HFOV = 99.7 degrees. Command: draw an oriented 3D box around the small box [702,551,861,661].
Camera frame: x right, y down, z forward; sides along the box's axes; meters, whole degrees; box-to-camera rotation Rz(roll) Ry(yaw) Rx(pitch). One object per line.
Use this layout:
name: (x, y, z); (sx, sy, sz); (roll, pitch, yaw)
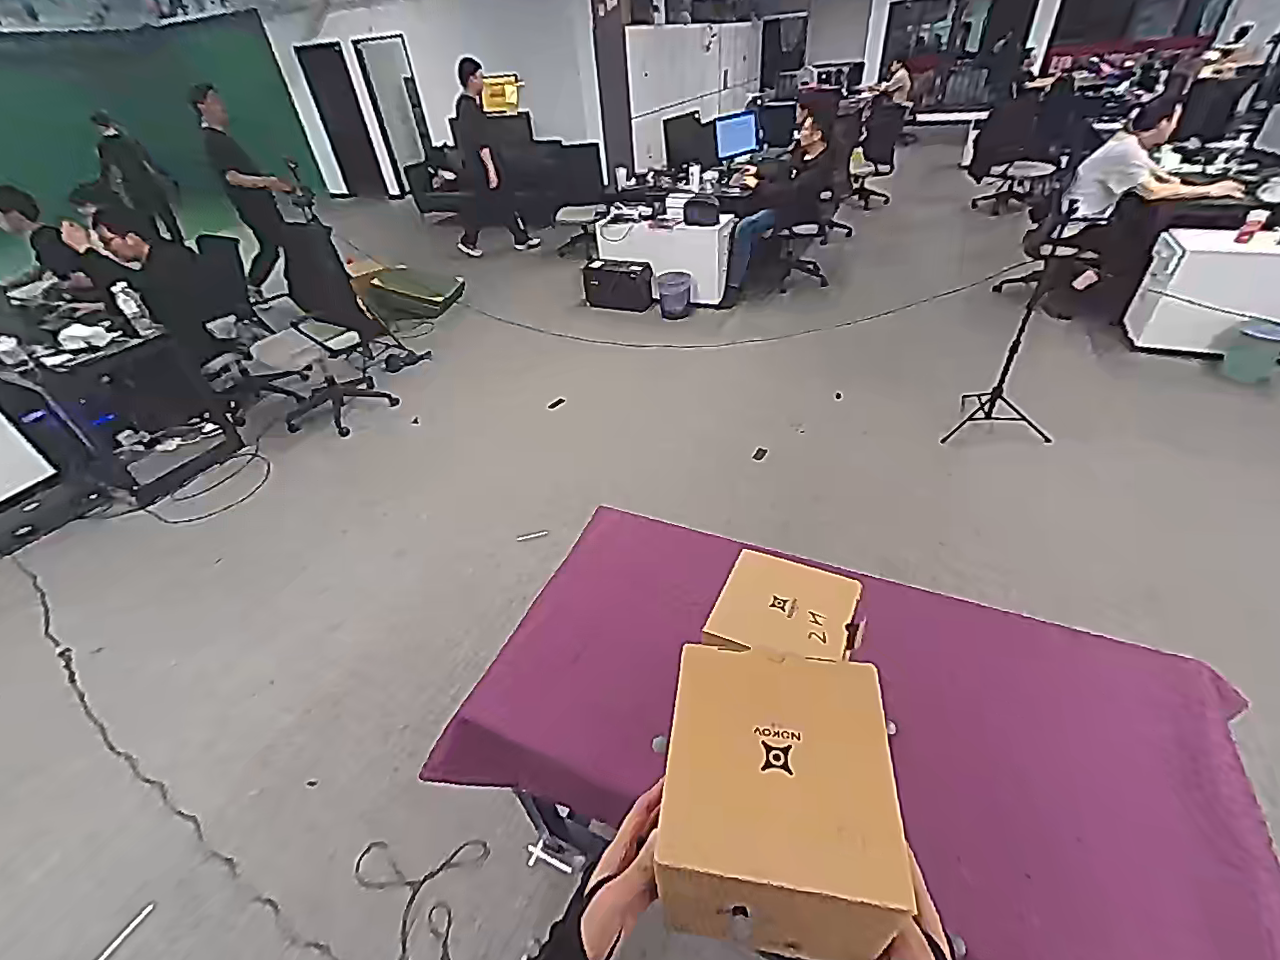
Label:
small box: (0.200, 0.237, 0.781); (0.179, 0.176, 0.168); (16, 43, 24)

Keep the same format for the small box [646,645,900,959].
small box: (0.106, 0.271, 0.461); (0.168, 0.176, 0.179); (3, 37, 11)
